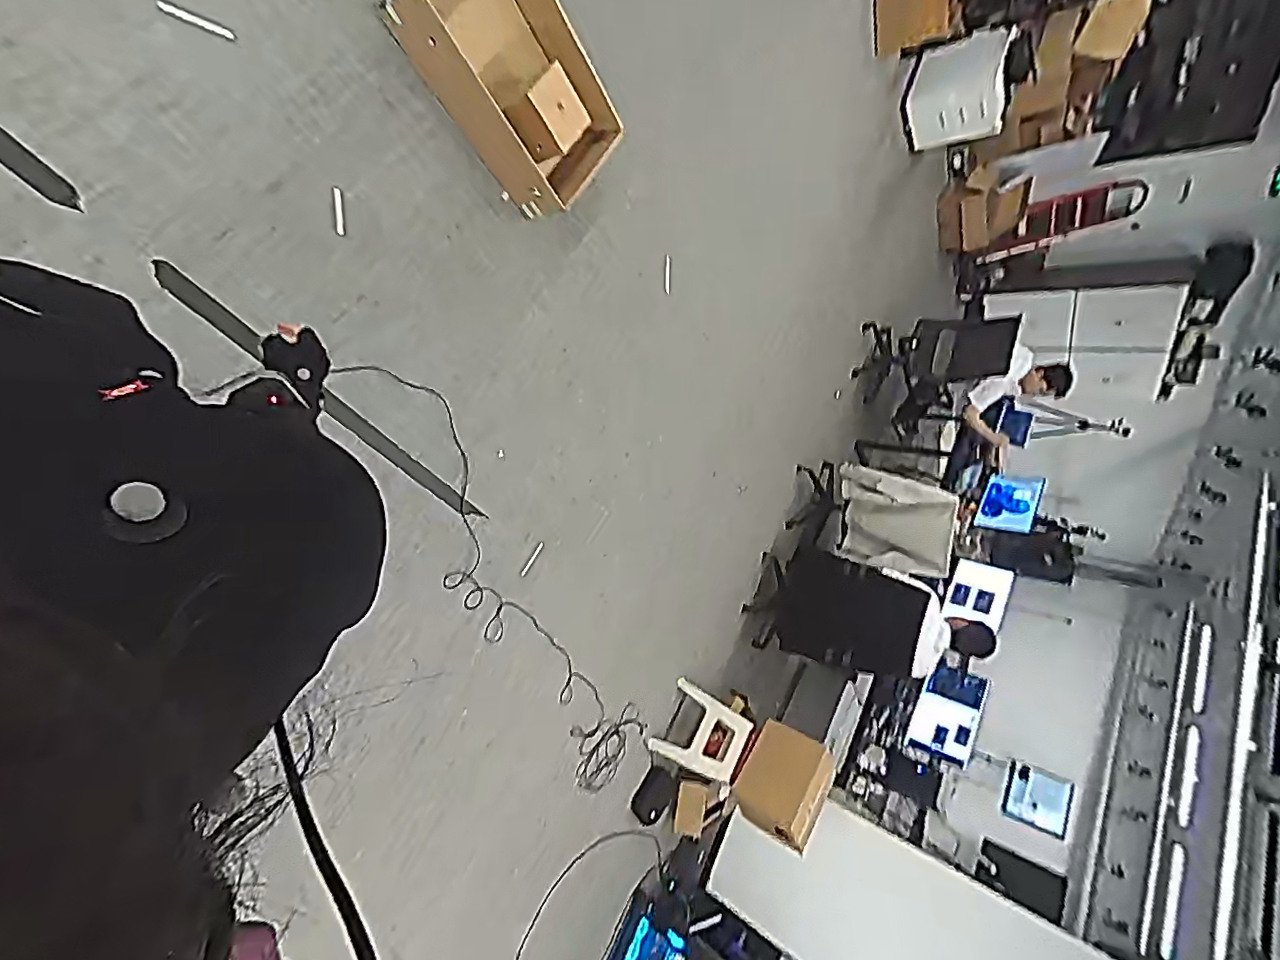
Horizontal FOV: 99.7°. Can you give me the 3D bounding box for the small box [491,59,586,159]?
[{"bbox_3d":[-0.299,-1.082,1.595,0.179,0.176,0.168,47,63,-43],"label":"small box"}]
